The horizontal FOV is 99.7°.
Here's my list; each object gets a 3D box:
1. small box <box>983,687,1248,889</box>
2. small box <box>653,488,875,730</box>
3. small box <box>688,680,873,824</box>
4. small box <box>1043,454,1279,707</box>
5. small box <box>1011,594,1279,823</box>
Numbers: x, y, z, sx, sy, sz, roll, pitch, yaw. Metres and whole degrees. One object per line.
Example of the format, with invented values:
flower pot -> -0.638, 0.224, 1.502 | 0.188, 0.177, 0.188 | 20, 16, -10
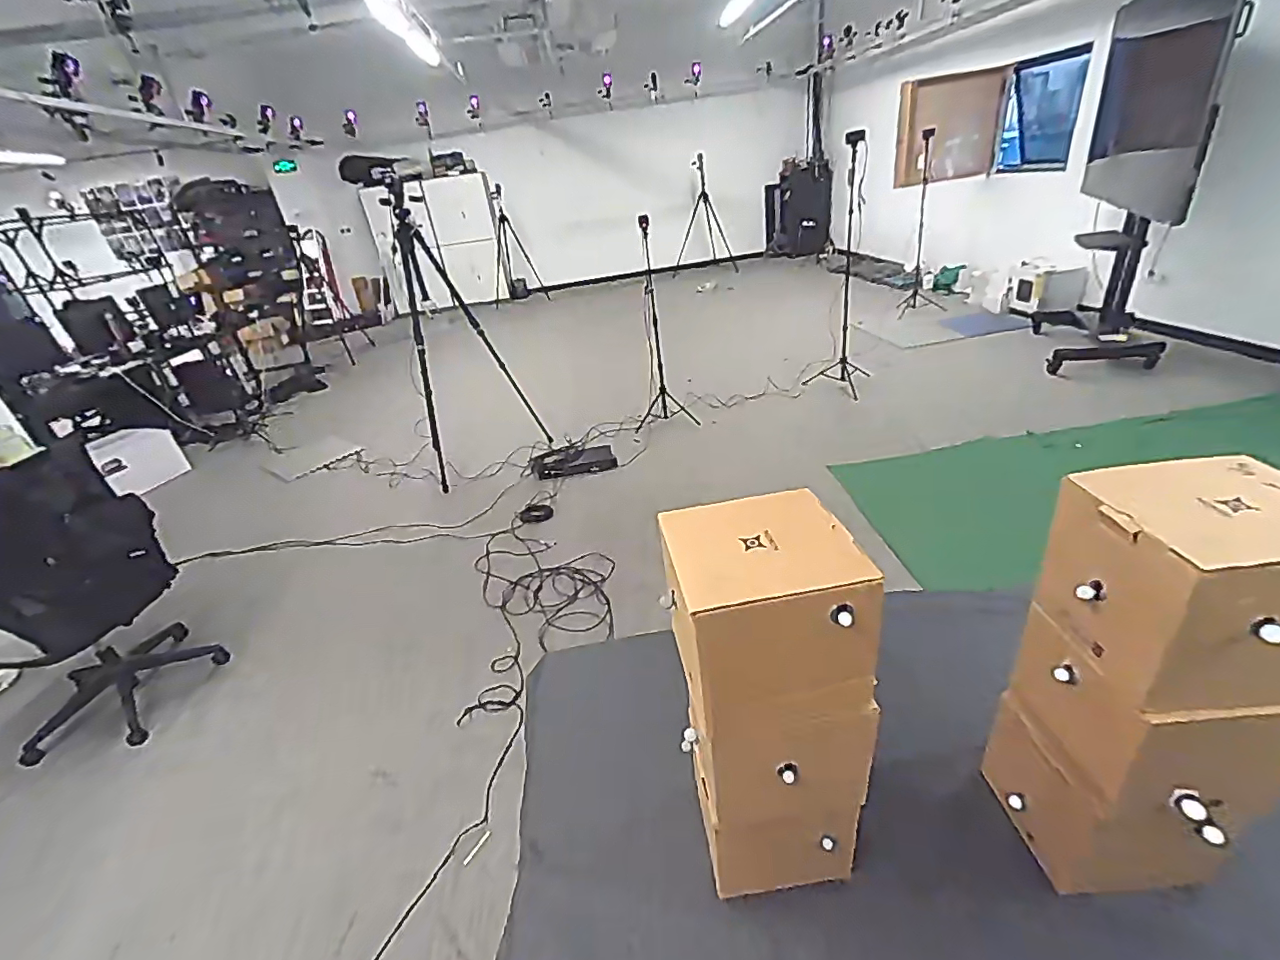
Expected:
small box -> 0.570, 0.376, 0.677 | 0.179, 0.176, 0.168 | -8, 28, 3
small box -> 0.119, 0.131, 0.564 | 0.179, 0.176, 0.168 | -10, 29, -4
small box -> 0.149, 0.271, 0.642 | 0.179, 0.176, 0.168 | -10, 29, -1
small box -> 0.526, 0.095, 0.518 | 0.179, 0.176, 0.168 | -7, 29, 6
small box -> 0.547, 0.238, 0.593 | 0.168, 0.176, 0.179 | -8, 30, 5
